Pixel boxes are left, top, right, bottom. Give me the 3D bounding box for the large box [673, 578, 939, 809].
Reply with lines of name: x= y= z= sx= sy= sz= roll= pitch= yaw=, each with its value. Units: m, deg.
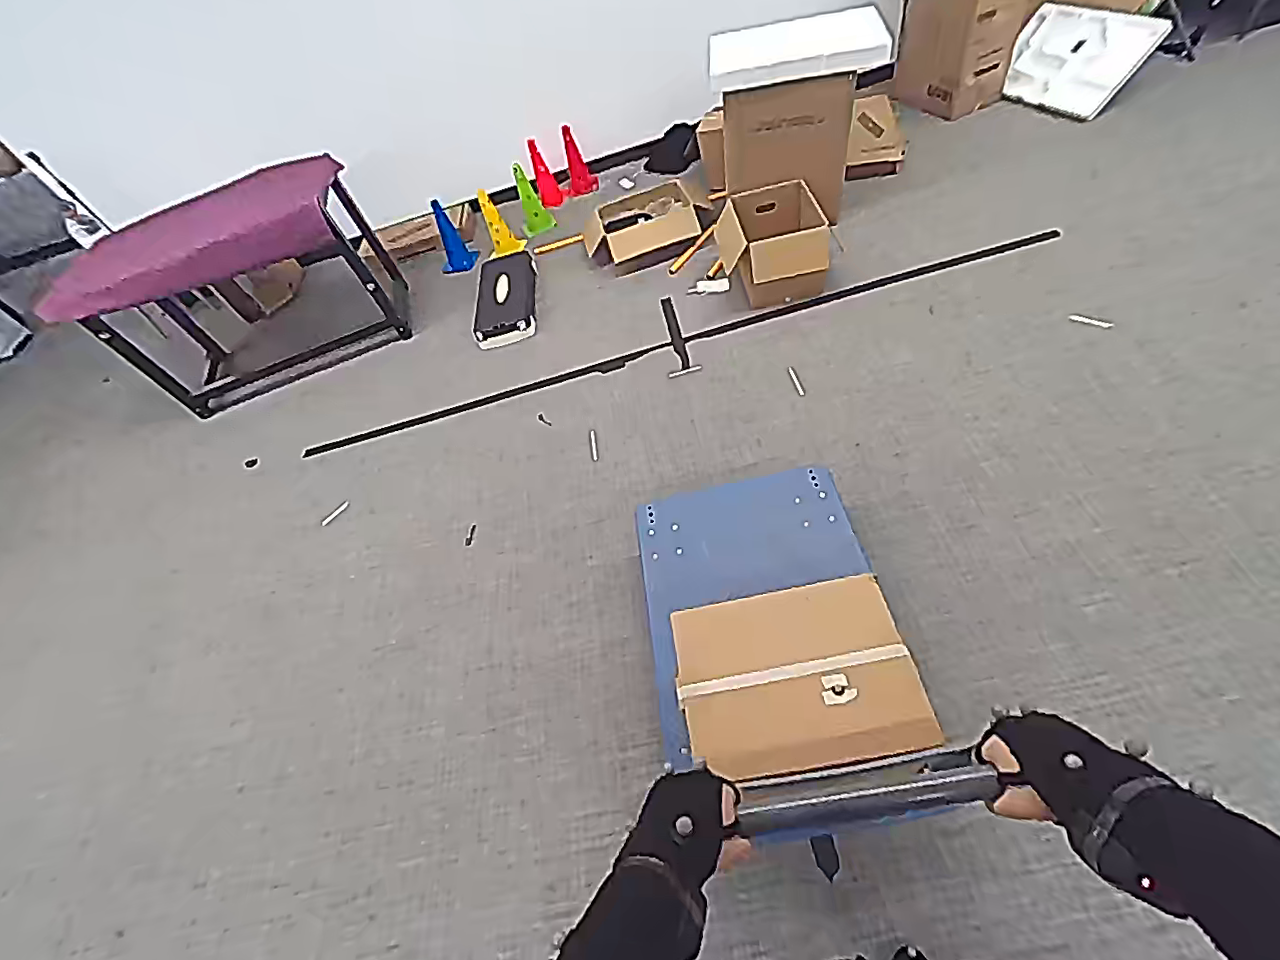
large box: x=0.305 y=0.444 z=1.100 sx=0.408 sy=0.320 sz=0.320 roll=-12 pitch=52 yaw=5
